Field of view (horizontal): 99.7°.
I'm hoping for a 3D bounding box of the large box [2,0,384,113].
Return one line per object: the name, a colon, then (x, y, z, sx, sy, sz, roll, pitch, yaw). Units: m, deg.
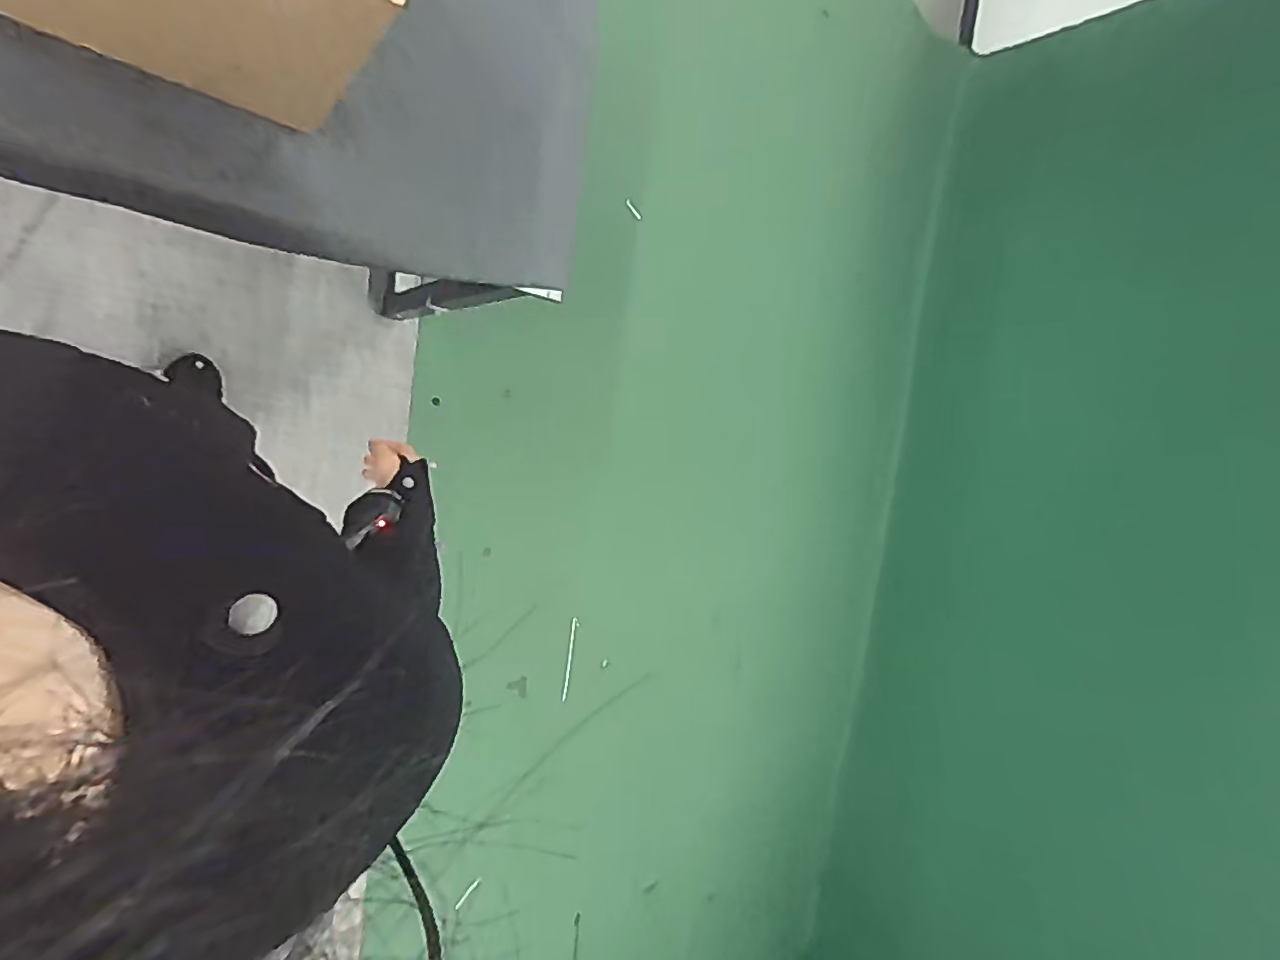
large box: (-0.428, -0.556, 0.385, 0.408, 0.320, 0.320, -1, 100, -43)
